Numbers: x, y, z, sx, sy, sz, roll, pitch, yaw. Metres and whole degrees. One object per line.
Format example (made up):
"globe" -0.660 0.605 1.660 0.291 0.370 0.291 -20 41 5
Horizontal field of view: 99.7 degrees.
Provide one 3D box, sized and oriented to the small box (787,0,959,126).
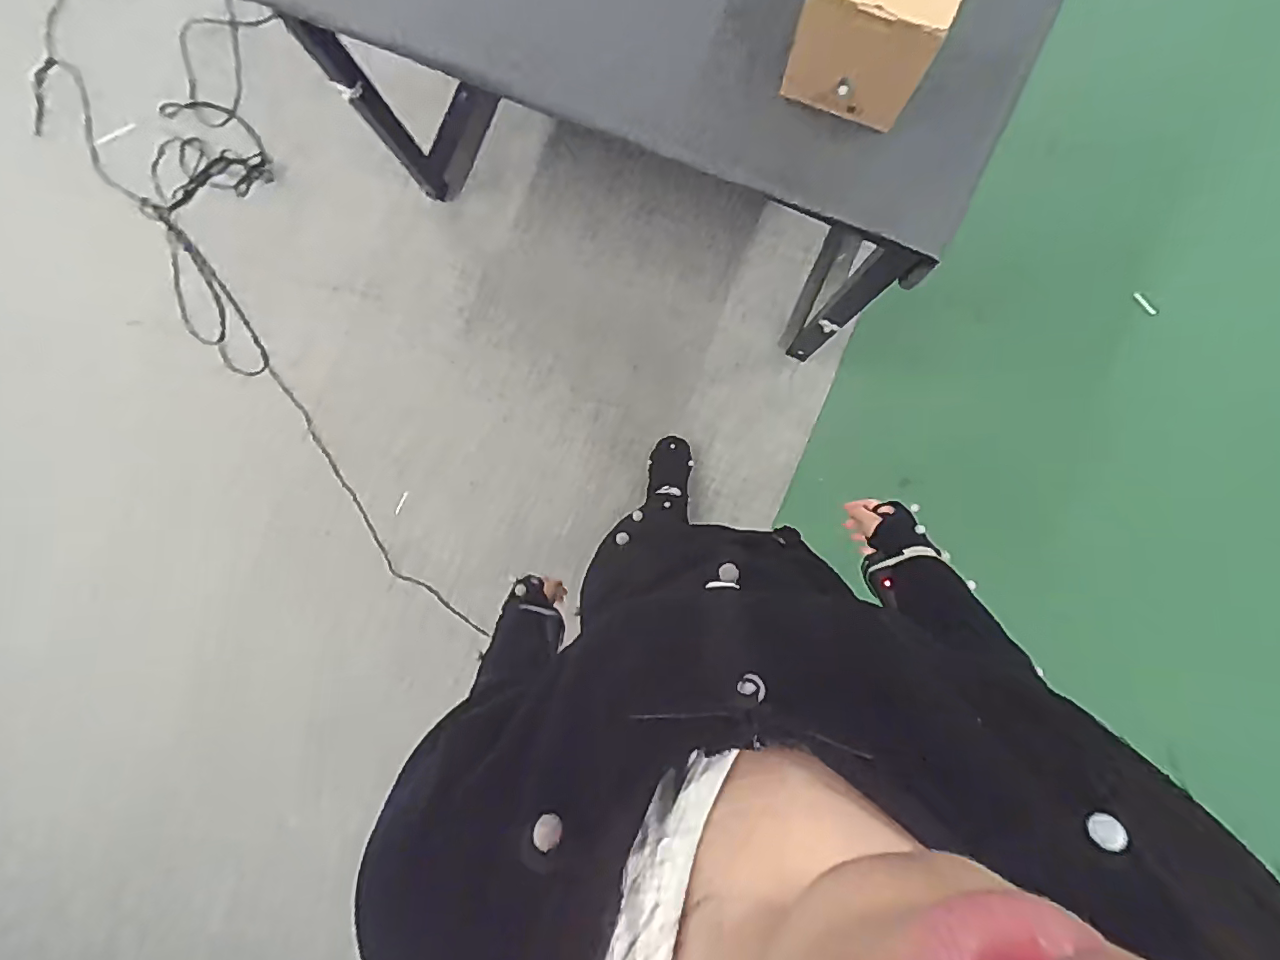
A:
"small box" 0.304 -0.609 0.689 0.168 0.176 0.179 22 91 4
